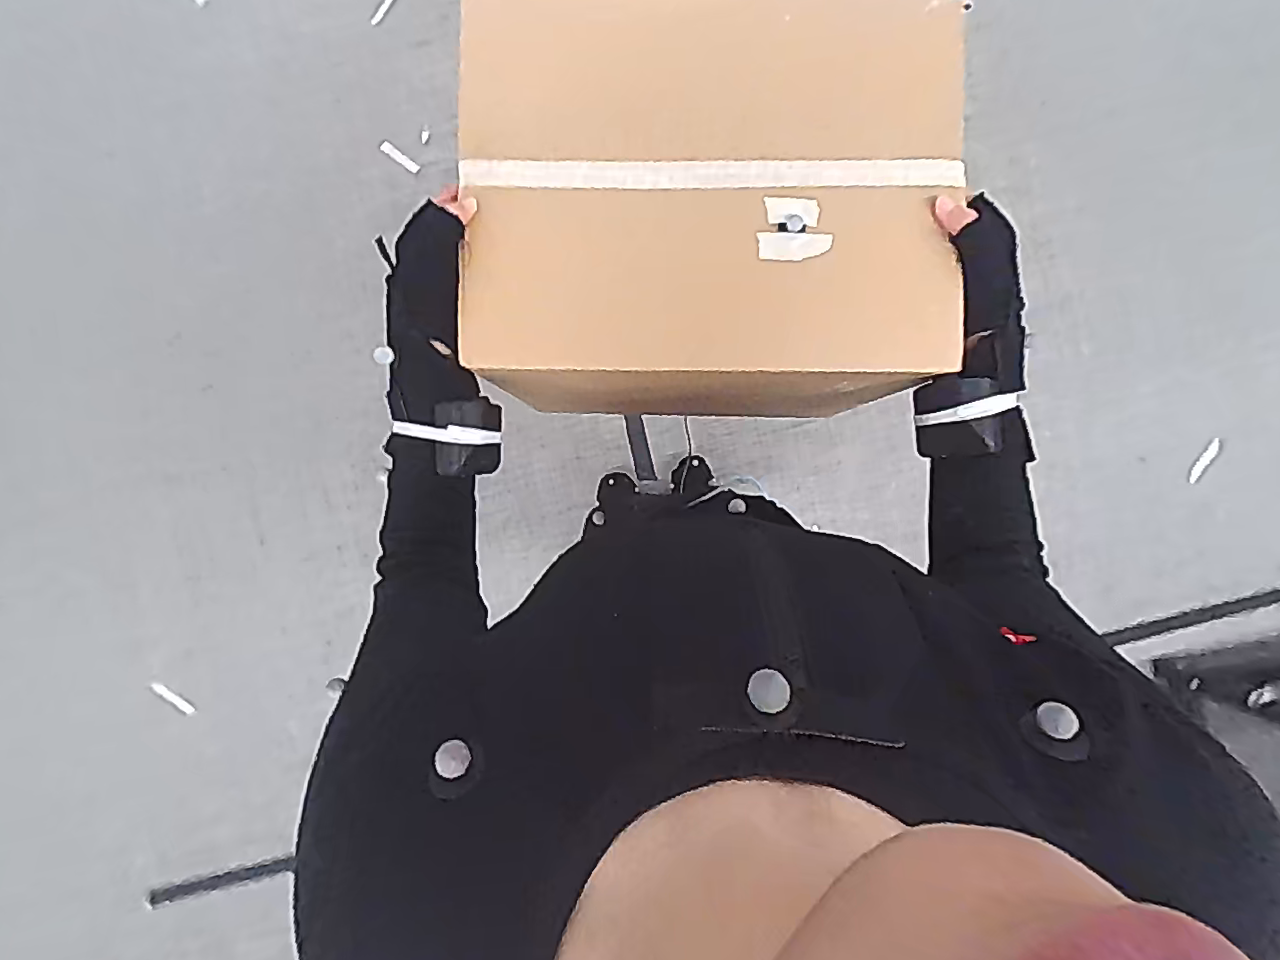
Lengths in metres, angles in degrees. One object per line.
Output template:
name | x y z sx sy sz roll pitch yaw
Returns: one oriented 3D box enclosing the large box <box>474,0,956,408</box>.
large box | 0.060 -0.253 0.598 0.408 0.320 0.320 2 91 0
